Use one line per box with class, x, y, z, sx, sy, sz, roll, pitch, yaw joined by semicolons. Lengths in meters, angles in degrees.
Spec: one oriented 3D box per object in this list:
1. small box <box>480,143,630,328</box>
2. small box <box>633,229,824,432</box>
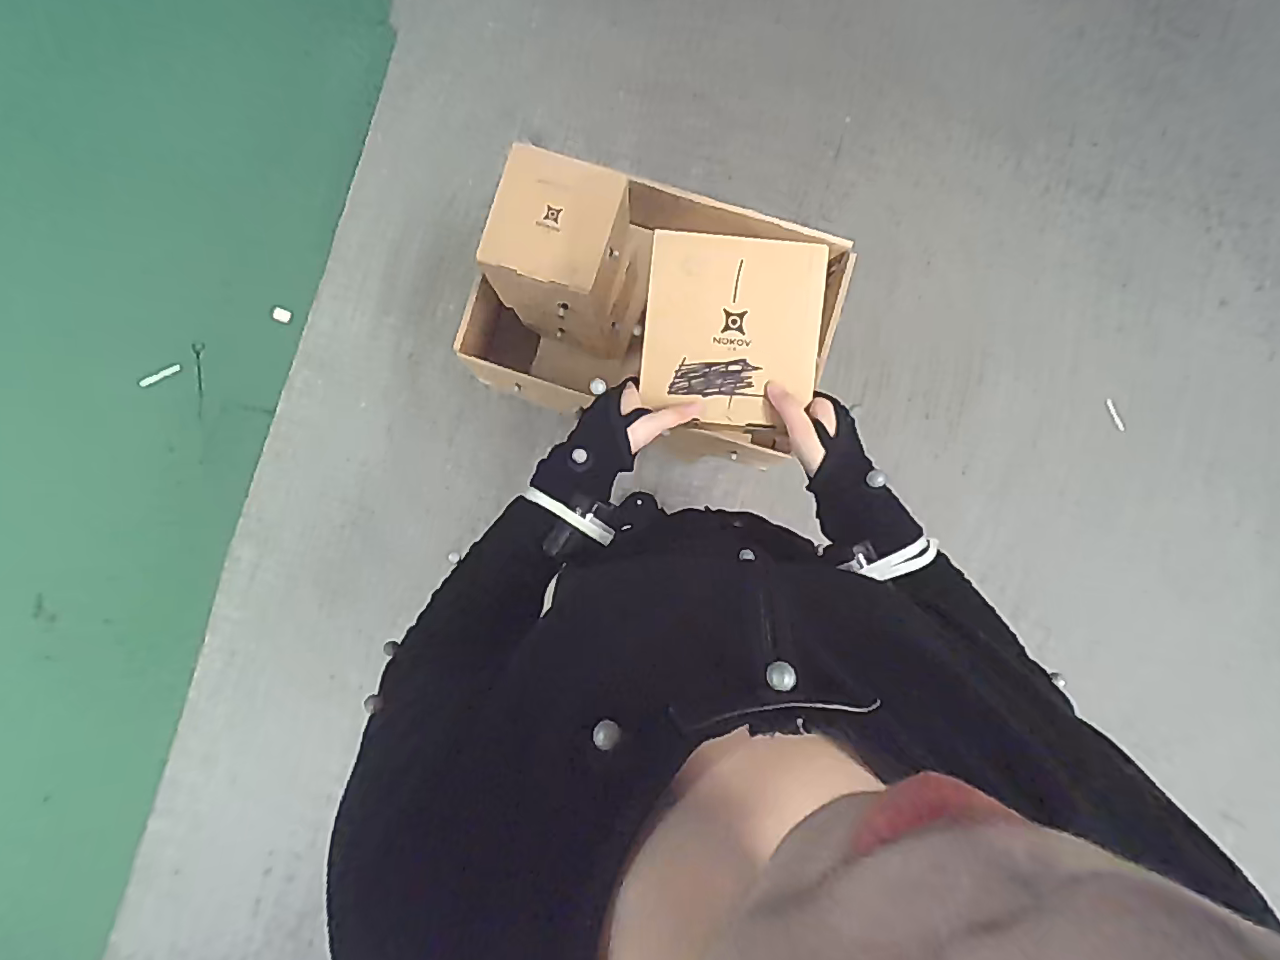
small box;-0.114;-0.354;0.817;0.168;0.176;0.179;18;87;1
small box;0.086;-0.146;0.587;0.168;0.176;0.179;5;93;2
